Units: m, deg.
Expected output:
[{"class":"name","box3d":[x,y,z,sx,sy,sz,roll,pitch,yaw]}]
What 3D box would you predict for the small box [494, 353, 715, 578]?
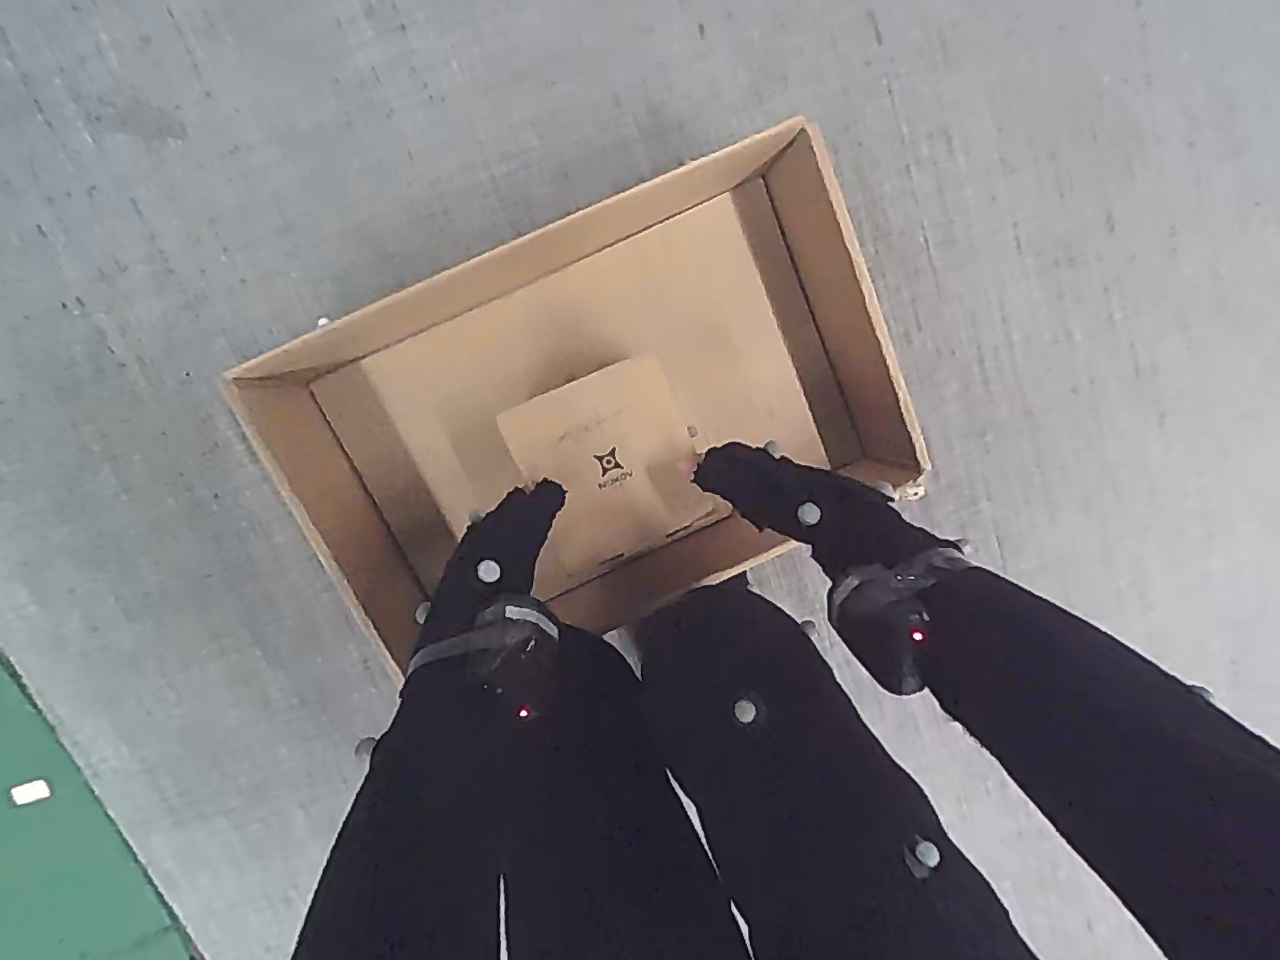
[{"class":"small box","box3d":[-0.035,-0.020,0.597,0.168,0.176,0.179,-23,96,-1]}]
